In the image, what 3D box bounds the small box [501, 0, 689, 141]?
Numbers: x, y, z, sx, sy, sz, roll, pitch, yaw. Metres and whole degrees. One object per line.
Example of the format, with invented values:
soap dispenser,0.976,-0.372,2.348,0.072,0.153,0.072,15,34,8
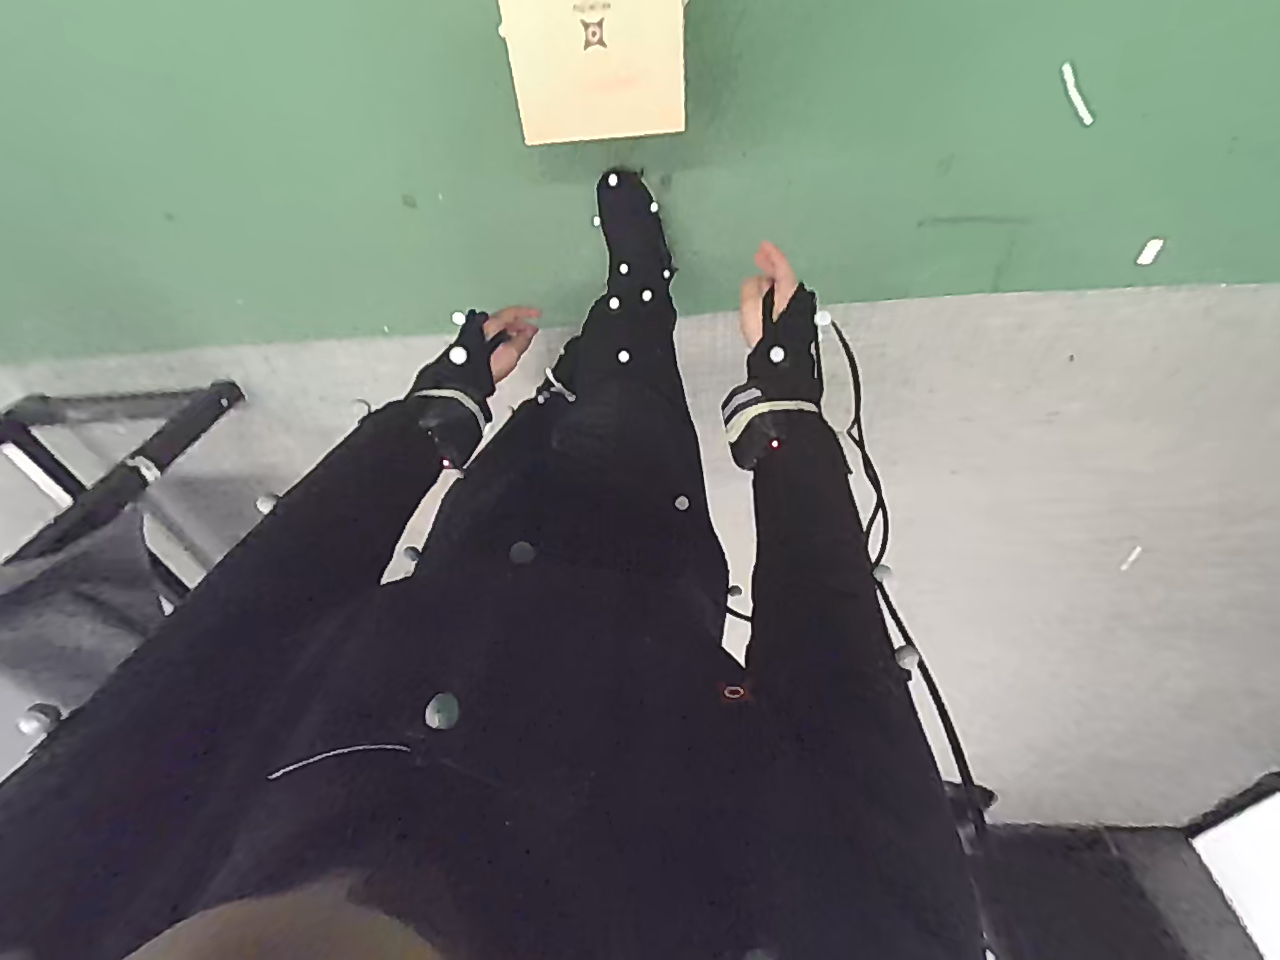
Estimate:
small box,-0.037,-0.464,0.544,0.168,0.176,0.179,-2,132,6
